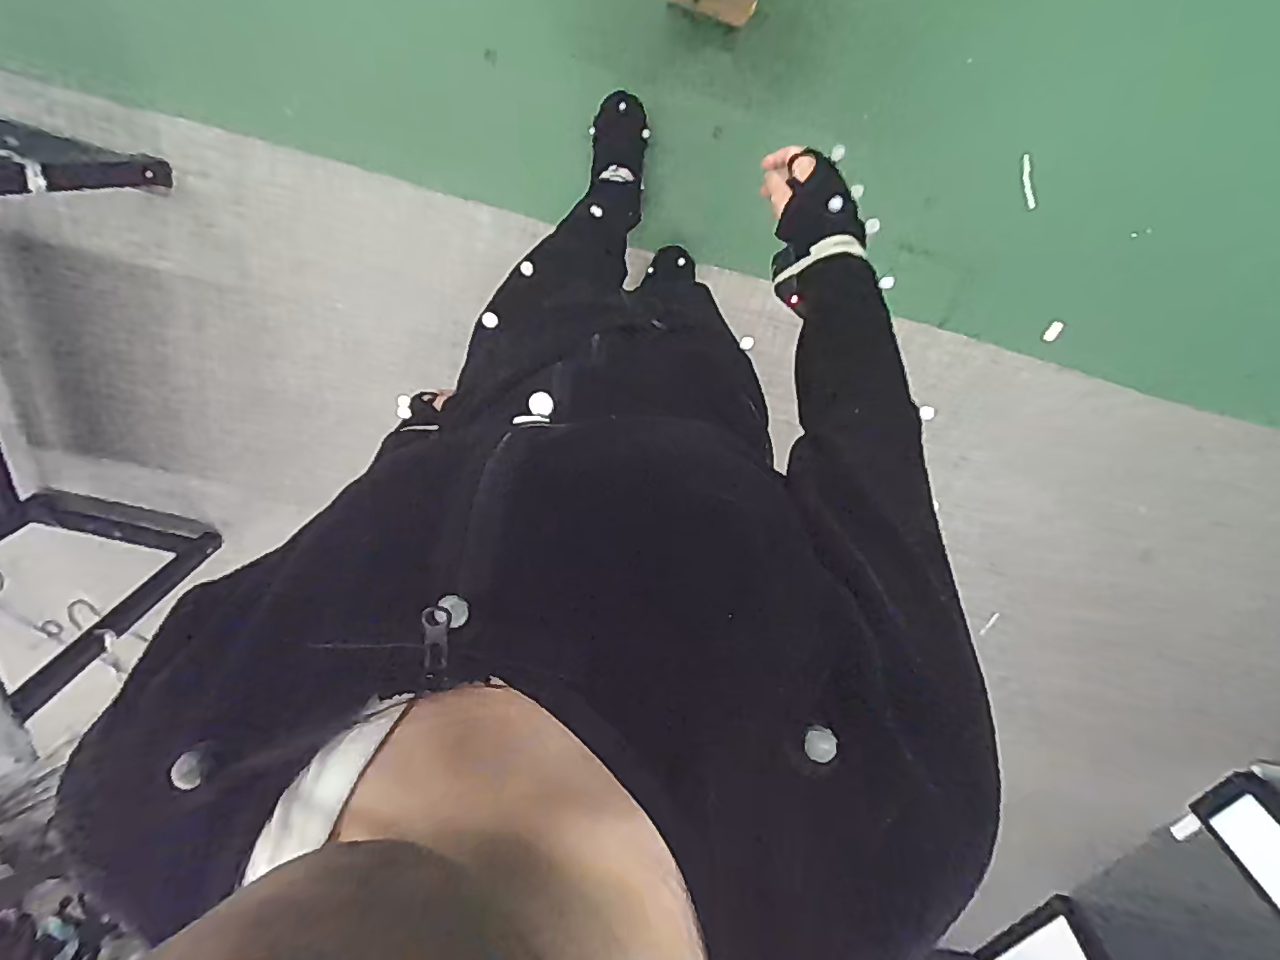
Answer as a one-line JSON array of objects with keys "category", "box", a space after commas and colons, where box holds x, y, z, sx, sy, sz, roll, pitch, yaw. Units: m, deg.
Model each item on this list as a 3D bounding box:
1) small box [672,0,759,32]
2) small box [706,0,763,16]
[{"category": "small box", "box": [0.154, -0.943, 0.968, 0.168, 0.176, 0.179, 14, 120, -4]}, {"category": "small box", "box": [0.142, -0.861, 0.825, 0.168, 0.176, 0.179, 16, 120, -5]}]
